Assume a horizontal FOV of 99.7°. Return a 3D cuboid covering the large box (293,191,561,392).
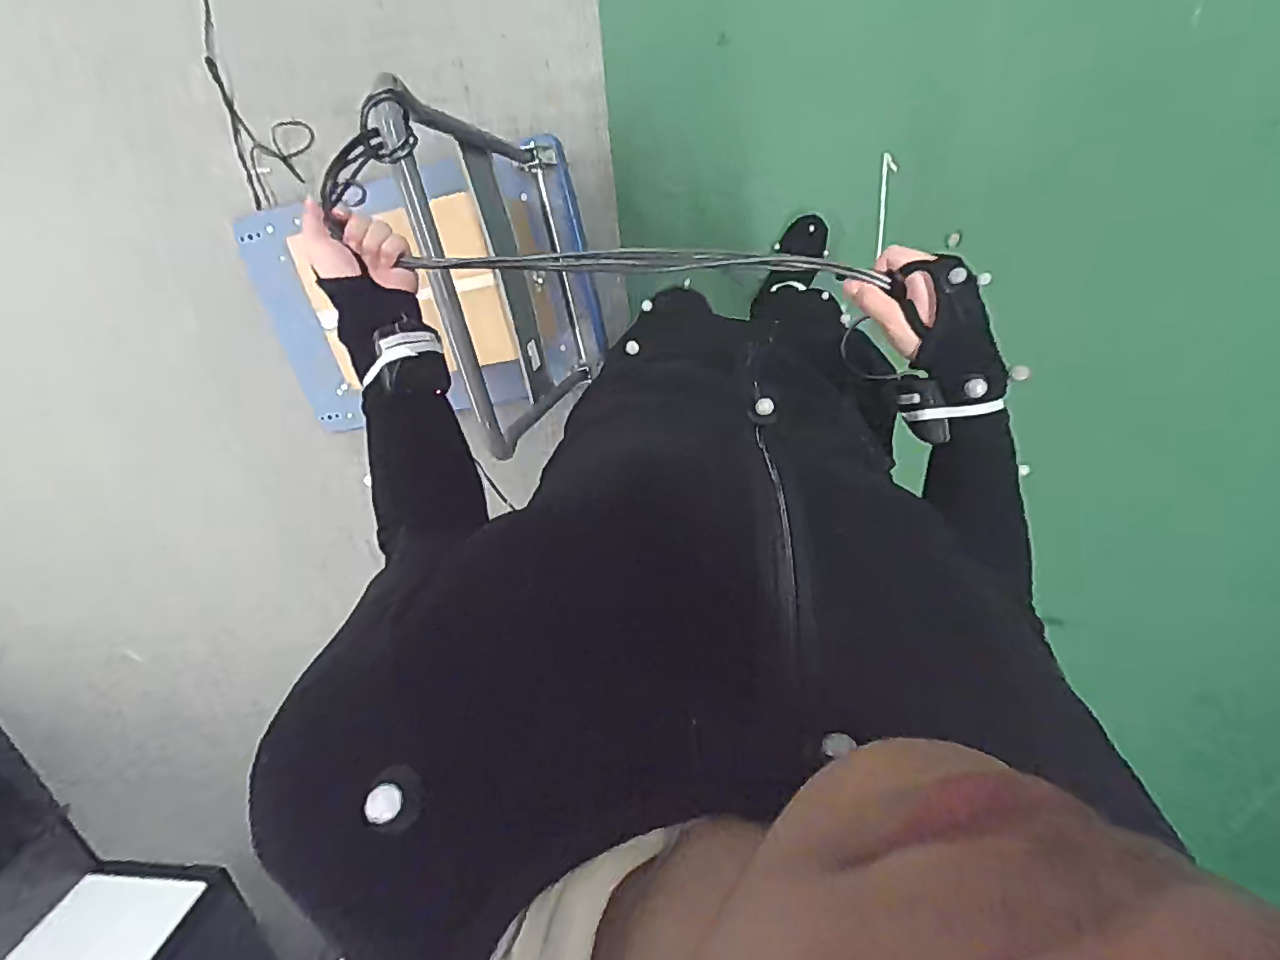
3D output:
[{"bbox_3d":[-0.437,-0.416,1.205,0.408,0.320,0.320,-8,111,12],"label":"large box"}]
